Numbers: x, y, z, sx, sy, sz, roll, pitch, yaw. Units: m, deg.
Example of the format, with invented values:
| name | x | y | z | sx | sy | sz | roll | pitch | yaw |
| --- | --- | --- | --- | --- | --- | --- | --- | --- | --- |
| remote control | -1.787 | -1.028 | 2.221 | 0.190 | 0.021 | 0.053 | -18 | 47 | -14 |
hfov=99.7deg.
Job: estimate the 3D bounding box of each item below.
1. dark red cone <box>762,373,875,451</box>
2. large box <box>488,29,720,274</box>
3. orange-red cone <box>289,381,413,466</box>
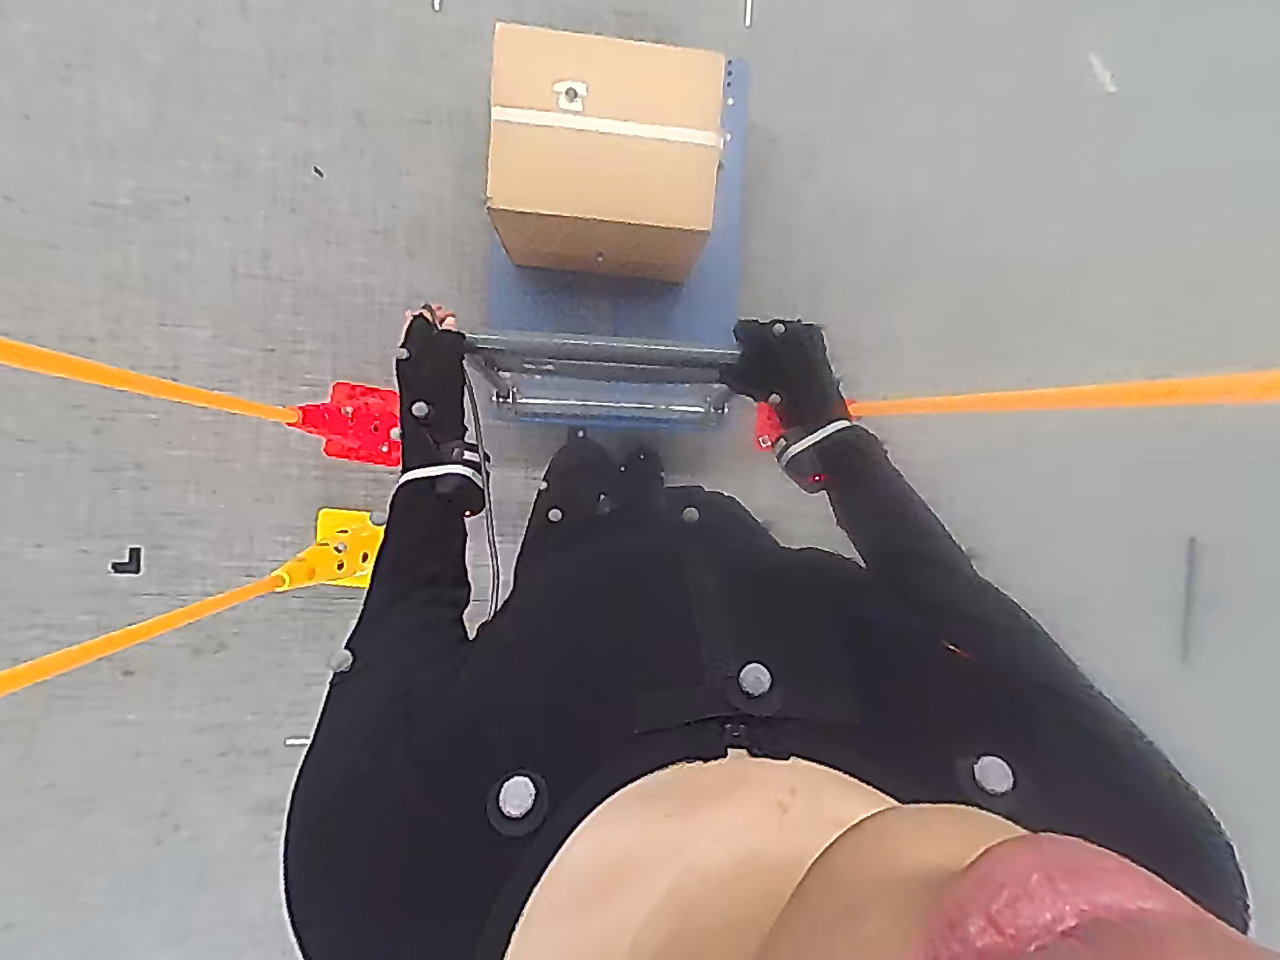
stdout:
| name | x | y | z | sx | sy | sz | roll | pitch | yaw |
| --- | --- | --- | --- | --- | --- | --- | --- | --- | --- |
| dark red cone | 0.443 | -0.173 | 1.293 | 0.201 | 0.394 | 0.202 | 3 | 93 | -6 |
| large box | -0.069 | -0.631 | 1.105 | 0.408 | 0.320 | 0.320 | 4 | 93 | -4 |
| orange-red cone | -0.690 | -0.141 | 1.237 | 0.198 | 0.360 | 0.199 | 10 | 91 | -5 |
